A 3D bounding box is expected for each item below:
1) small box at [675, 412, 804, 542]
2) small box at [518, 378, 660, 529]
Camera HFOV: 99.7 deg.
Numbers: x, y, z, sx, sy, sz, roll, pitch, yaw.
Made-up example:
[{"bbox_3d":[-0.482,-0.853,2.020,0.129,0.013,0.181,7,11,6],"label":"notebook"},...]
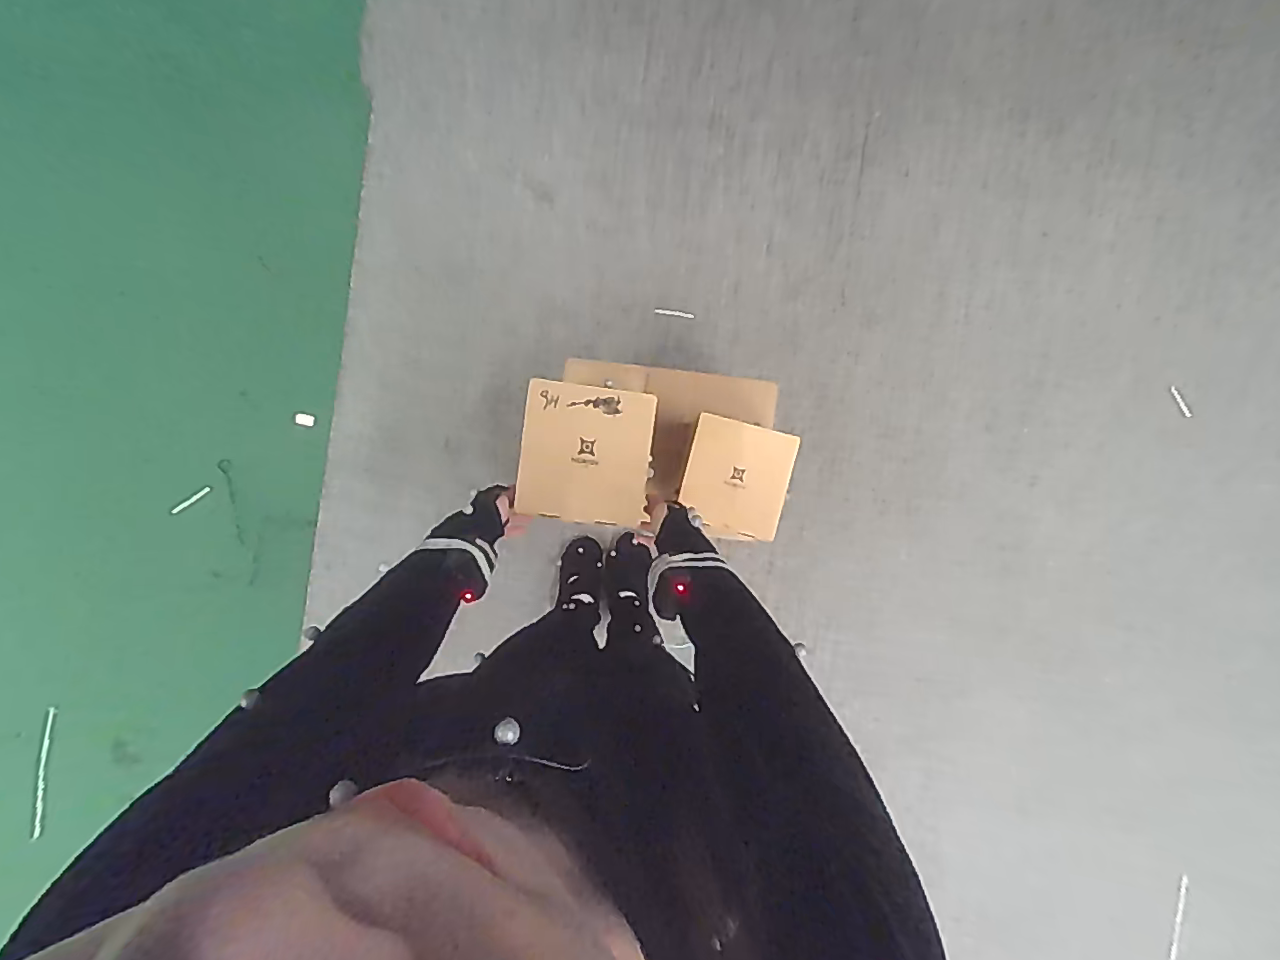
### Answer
[{"bbox_3d":[0.159,-0.006,0.930,0.168,0.176,0.179,14,92,0],"label":"small box"},{"bbox_3d":[-0.067,-0.038,0.764,0.168,0.176,0.179,7,93,-3],"label":"small box"}]
